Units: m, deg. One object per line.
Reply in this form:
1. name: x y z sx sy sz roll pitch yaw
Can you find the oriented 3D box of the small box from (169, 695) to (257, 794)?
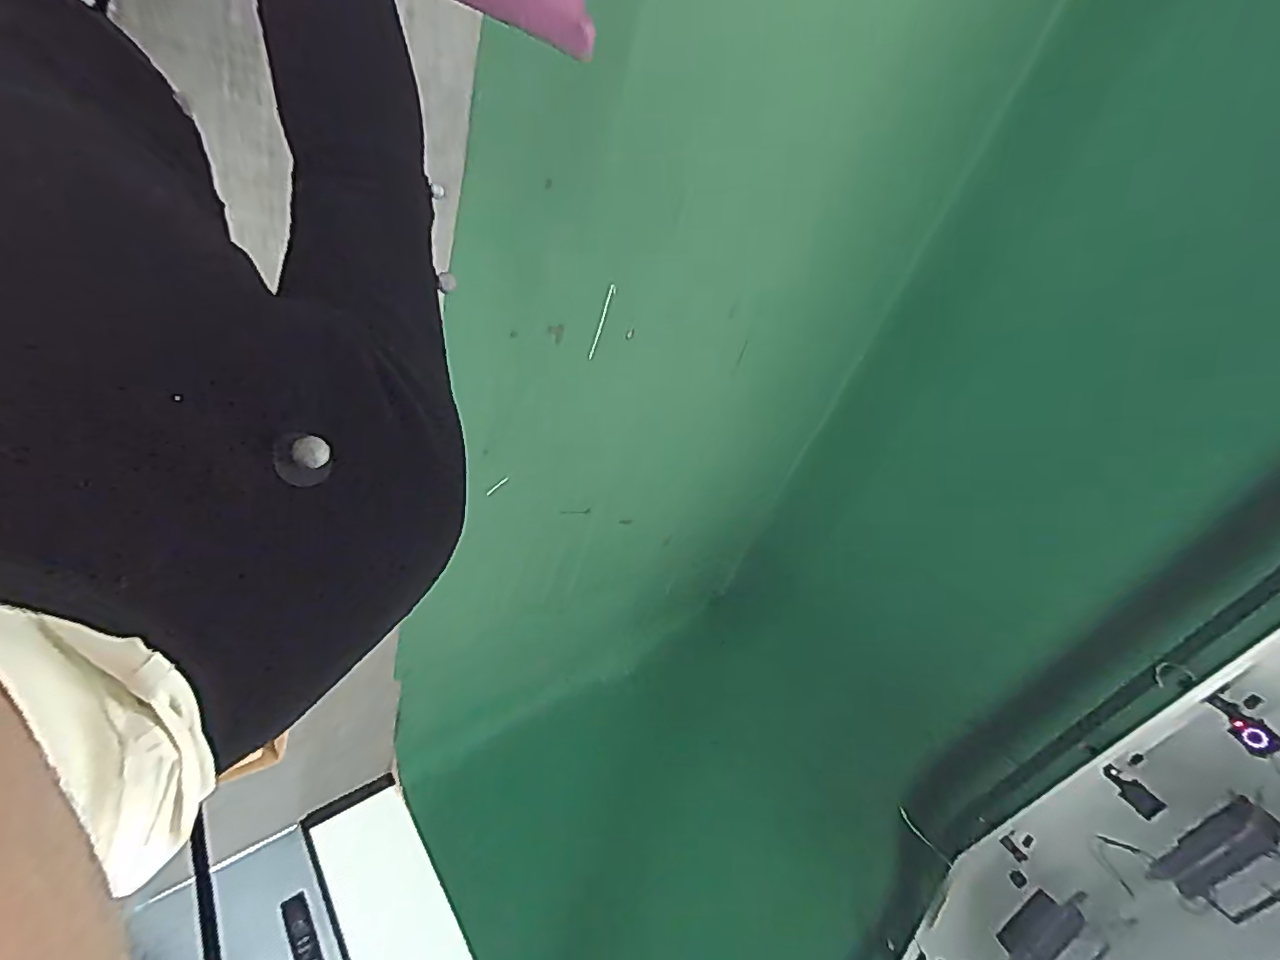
1. small box: -1.267 0.774 1.602 0.179 0.176 0.168 -8 132 -47
